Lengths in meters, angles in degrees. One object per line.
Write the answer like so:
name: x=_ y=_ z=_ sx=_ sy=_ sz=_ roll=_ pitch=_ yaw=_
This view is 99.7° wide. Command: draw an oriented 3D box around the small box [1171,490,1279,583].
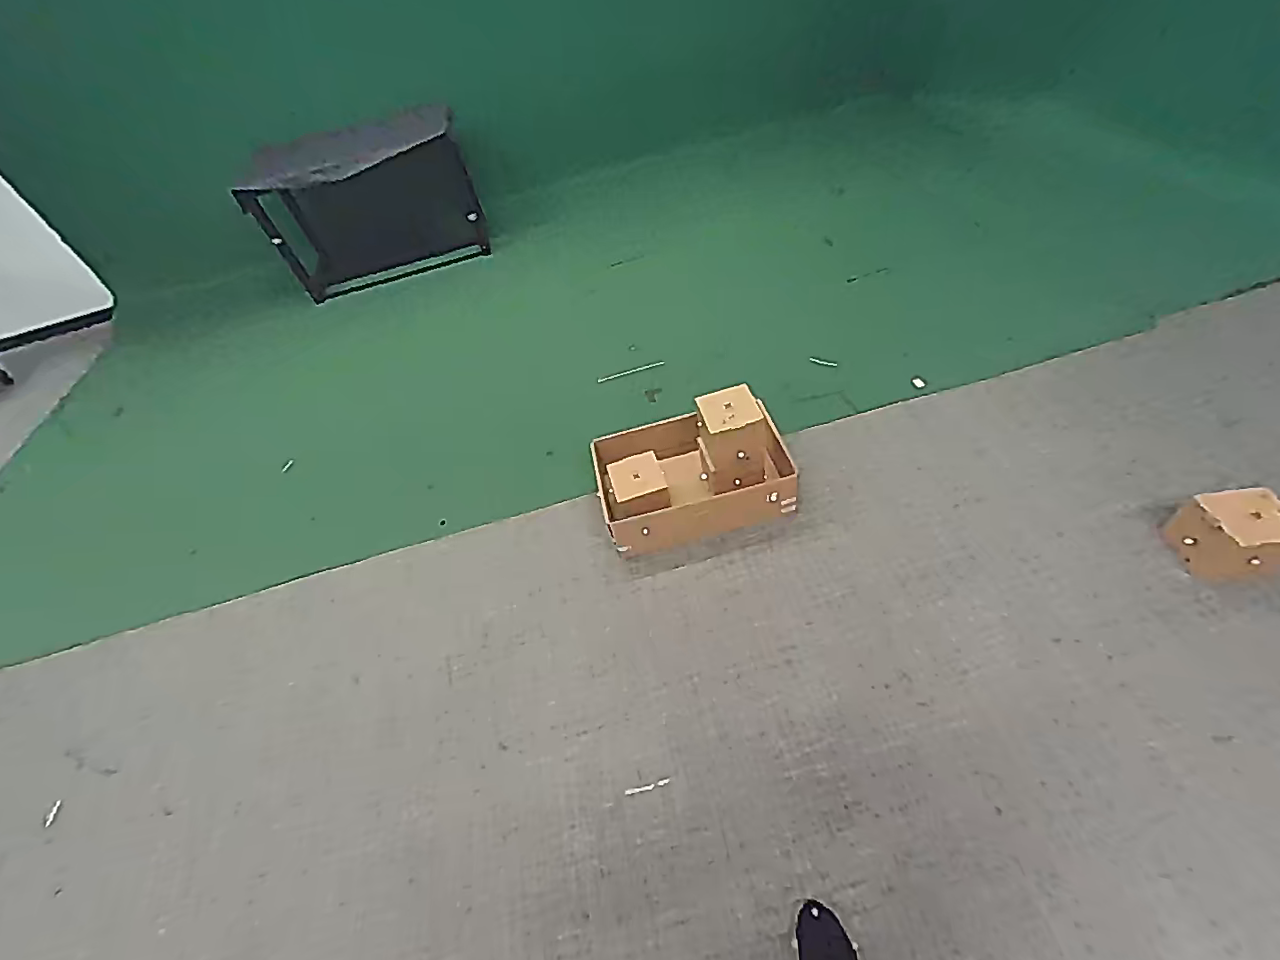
small box: x=1.519 y=0.149 z=1.376 sx=0.179 sy=0.176 sz=0.168 roll=-8 pitch=47 yaw=8

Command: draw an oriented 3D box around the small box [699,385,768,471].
small box: x=0.286 y=-0.157 z=1.657 sx=0.168 sy=0.176 sz=0.179 roll=-16 pitch=48 yaw=1
